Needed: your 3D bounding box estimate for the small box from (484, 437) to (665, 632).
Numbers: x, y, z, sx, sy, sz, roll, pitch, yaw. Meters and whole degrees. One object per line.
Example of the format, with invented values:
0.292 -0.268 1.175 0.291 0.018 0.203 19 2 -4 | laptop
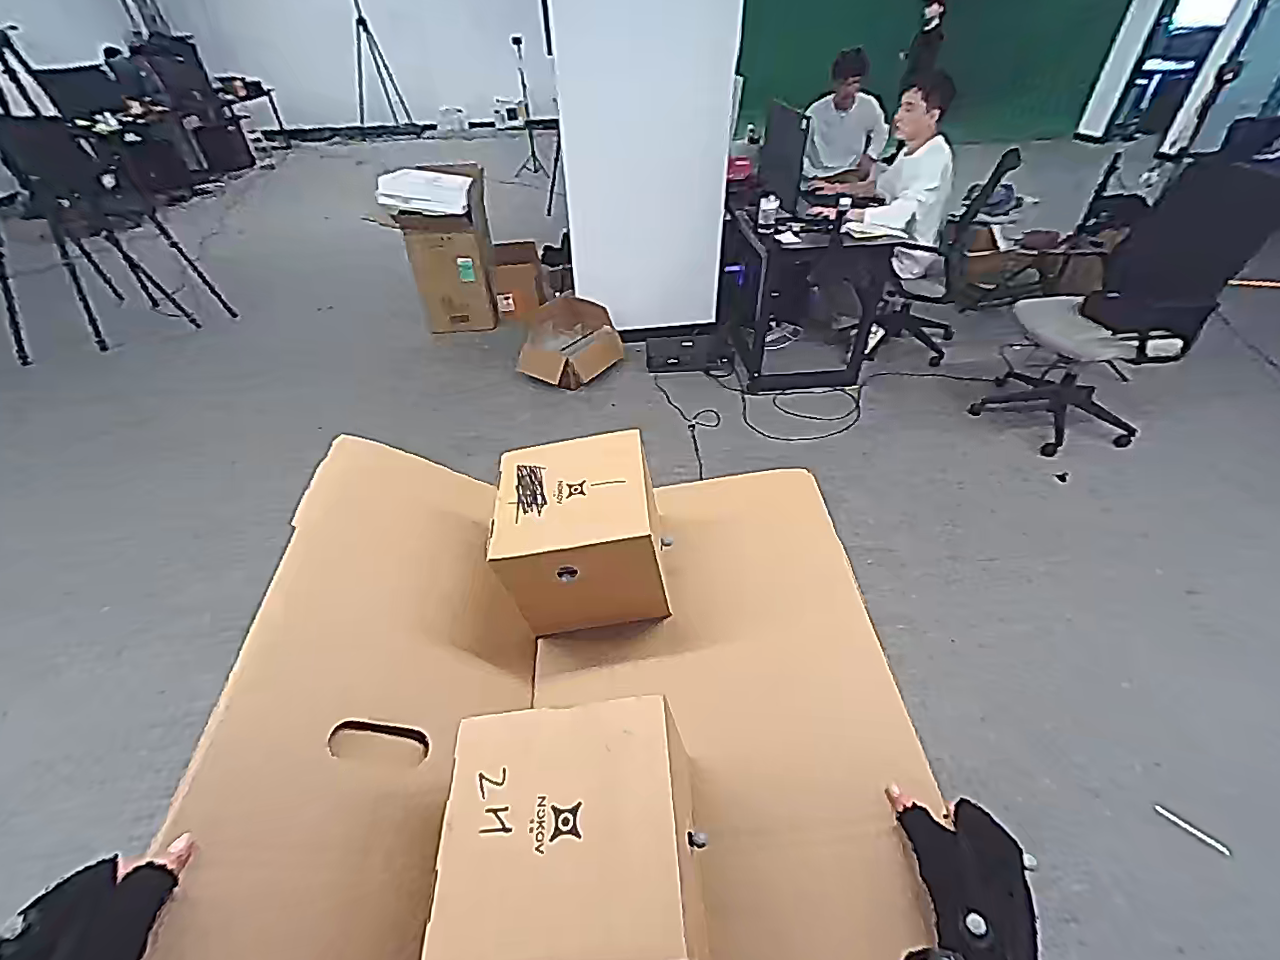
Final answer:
-0.073 0.074 0.676 0.179 0.176 0.168 -10 46 4 | small box
